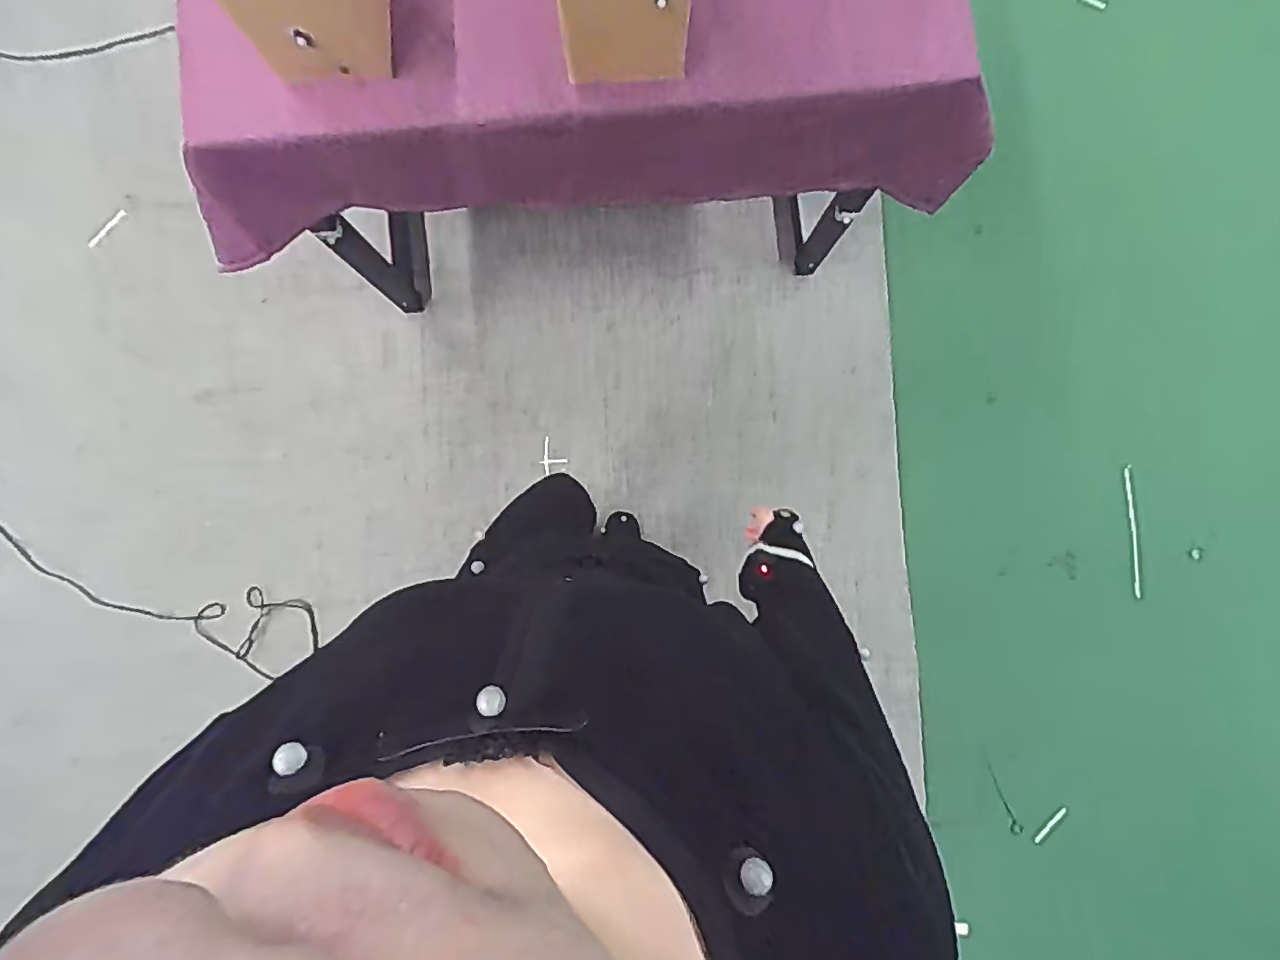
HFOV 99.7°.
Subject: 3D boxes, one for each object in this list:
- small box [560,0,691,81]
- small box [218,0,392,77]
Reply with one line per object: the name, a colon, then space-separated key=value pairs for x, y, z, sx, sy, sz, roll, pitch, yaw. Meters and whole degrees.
small box: x=-0.022 y=-0.685 z=0.737 sx=0.179 sy=0.176 sz=0.168 roll=-4 pitch=87 yaw=-1
small box: x=-0.451 y=-0.684 z=0.728 sx=0.168 sy=0.176 sz=0.179 roll=-3 pitch=87 yaw=-2
